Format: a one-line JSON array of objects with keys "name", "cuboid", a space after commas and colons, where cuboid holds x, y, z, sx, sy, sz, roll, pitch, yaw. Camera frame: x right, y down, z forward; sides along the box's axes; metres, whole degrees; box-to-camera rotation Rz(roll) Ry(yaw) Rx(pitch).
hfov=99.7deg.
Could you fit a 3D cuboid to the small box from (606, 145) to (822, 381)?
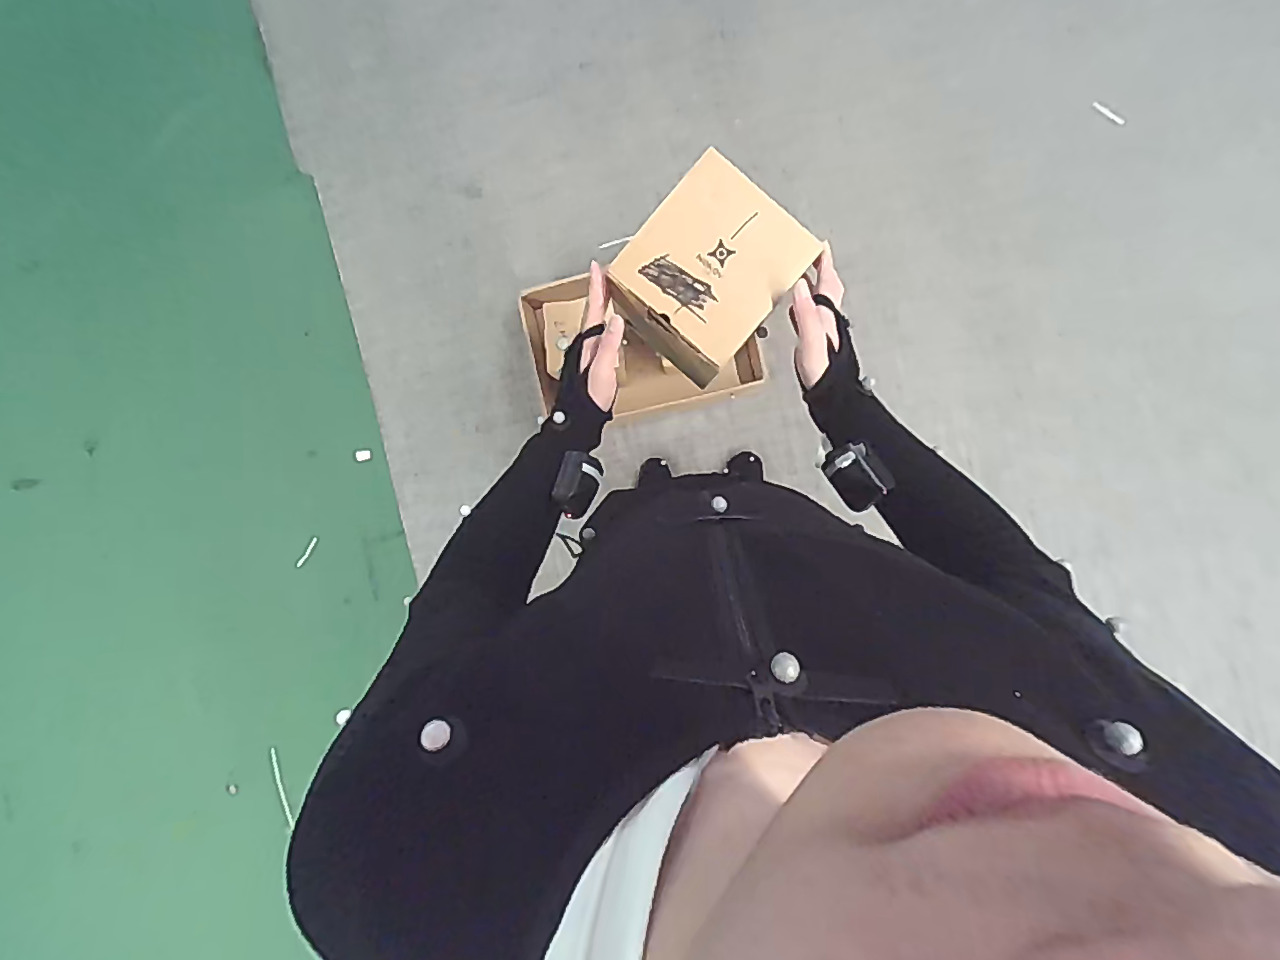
[{"name": "small box", "cuboid": [0.081, -0.242, 0.655, 0.168, 0.176, 0.179, 41, 91, -1]}]
